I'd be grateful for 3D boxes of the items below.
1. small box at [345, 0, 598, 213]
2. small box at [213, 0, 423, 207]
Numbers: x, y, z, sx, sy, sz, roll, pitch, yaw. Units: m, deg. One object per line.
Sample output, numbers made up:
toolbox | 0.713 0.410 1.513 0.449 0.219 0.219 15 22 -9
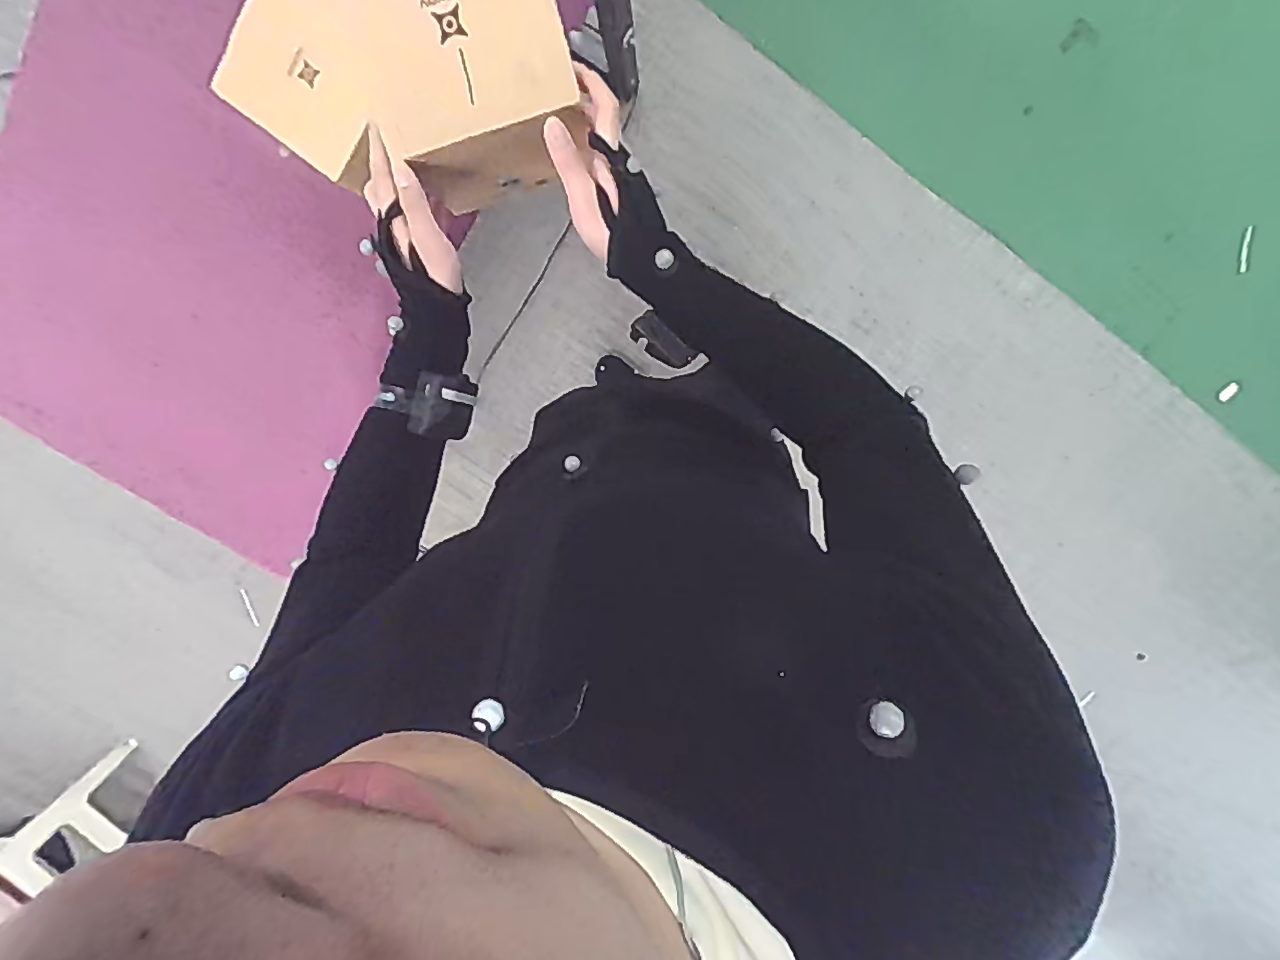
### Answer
small box | -0.141 -0.374 0.493 0.168 0.176 0.179 -15 103 3
small box | -0.376 -0.481 0.695 0.179 0.176 0.168 36 104 -5
